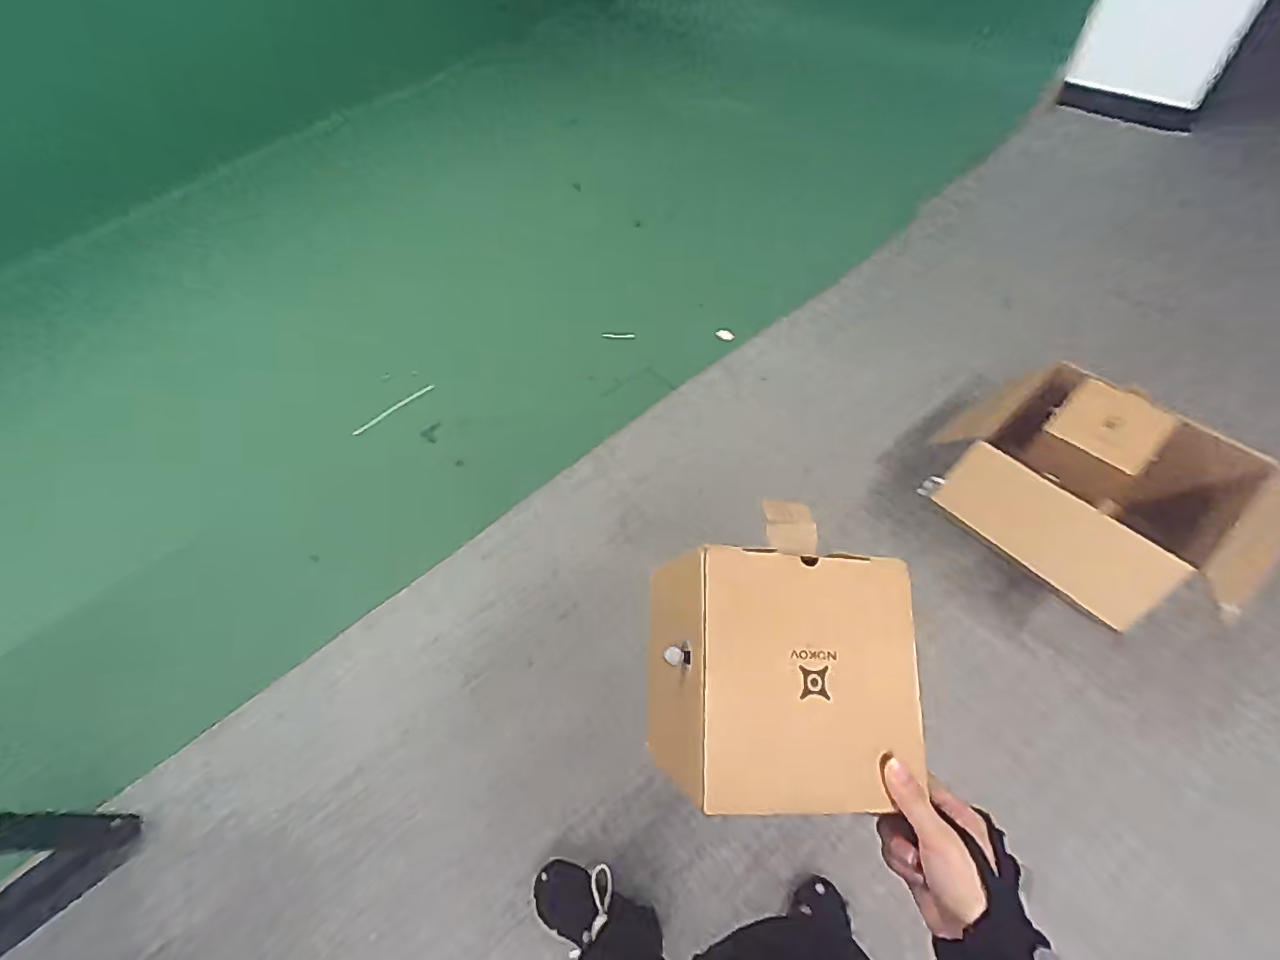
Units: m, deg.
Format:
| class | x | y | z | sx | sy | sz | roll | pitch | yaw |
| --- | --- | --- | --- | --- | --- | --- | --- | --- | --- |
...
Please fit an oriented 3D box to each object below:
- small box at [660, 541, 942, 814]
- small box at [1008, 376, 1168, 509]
| class | x | y | z | sx | sy | sz | roll | pitch | yaw |
| --- | --- | --- | --- | --- | --- | --- | --- | --- | --- |
| small box | 0.115 | 0.154 | 0.452 | 0.168 | 0.176 | 0.179 | 5 | 74 | -10 |
| small box | 0.915 | -0.074 | 1.125 | 0.179 | 0.176 | 0.168 | -42 | 61 | -14 |
